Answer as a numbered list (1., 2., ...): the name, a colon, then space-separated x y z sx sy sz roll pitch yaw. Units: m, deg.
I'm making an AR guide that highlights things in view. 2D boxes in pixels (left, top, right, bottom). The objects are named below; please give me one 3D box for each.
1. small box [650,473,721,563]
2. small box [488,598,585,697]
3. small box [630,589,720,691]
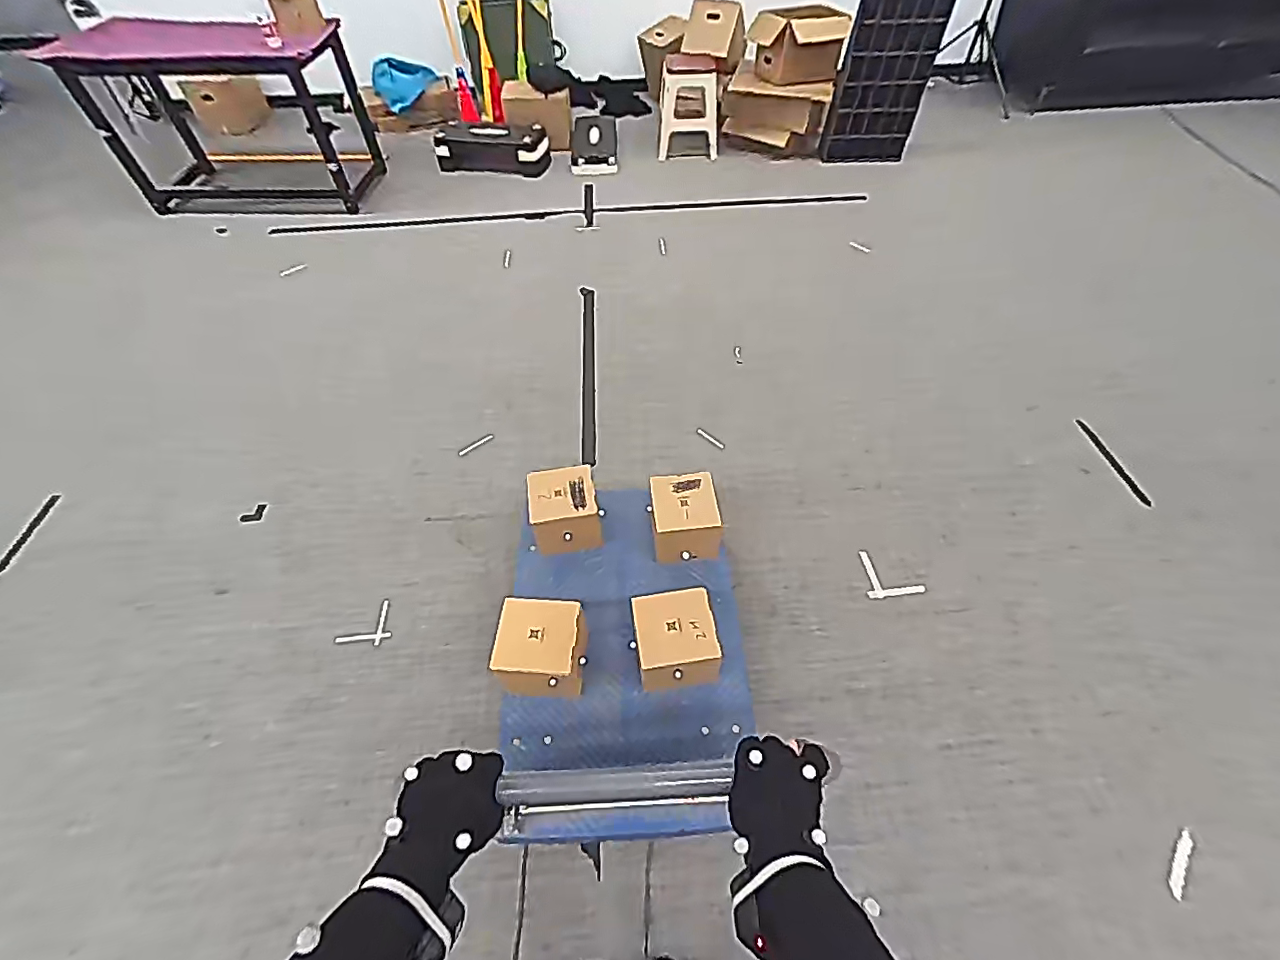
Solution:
1. small box: 0.115 0.103 1.448 0.168 0.176 0.179 -5 53 -2
2. small box: -0.227 0.387 1.240 0.179 0.176 0.168 3 52 2
3. small box: 0.077 0.371 1.244 0.179 0.176 0.168 -7 53 -4
